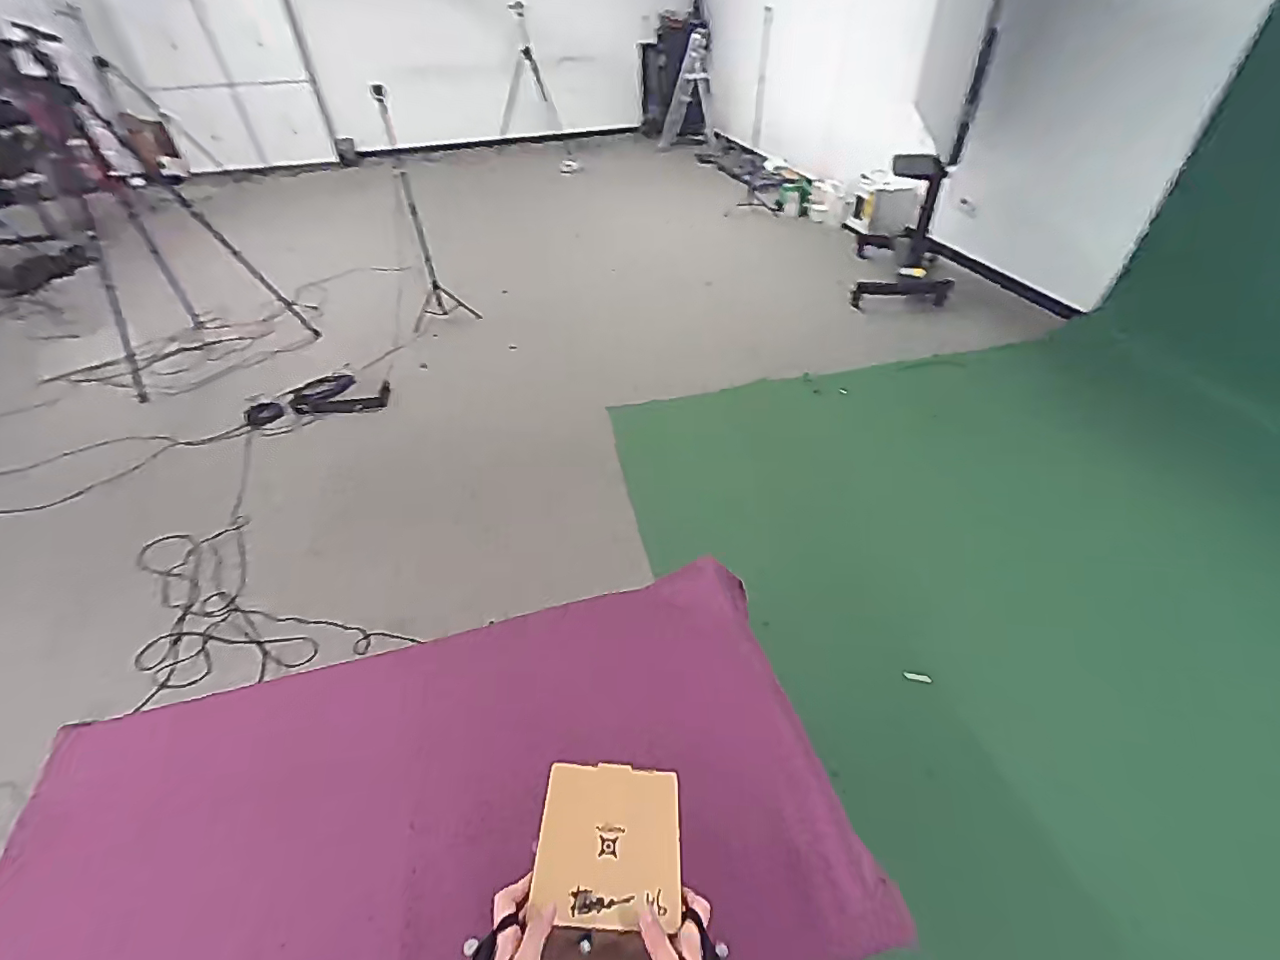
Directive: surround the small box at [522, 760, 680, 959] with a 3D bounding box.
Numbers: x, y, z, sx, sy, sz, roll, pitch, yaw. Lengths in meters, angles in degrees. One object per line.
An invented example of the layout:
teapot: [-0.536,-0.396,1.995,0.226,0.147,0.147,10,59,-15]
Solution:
small box: [-0.044,0.479,0.660,0.168,0.176,0.179,5,32,0]
